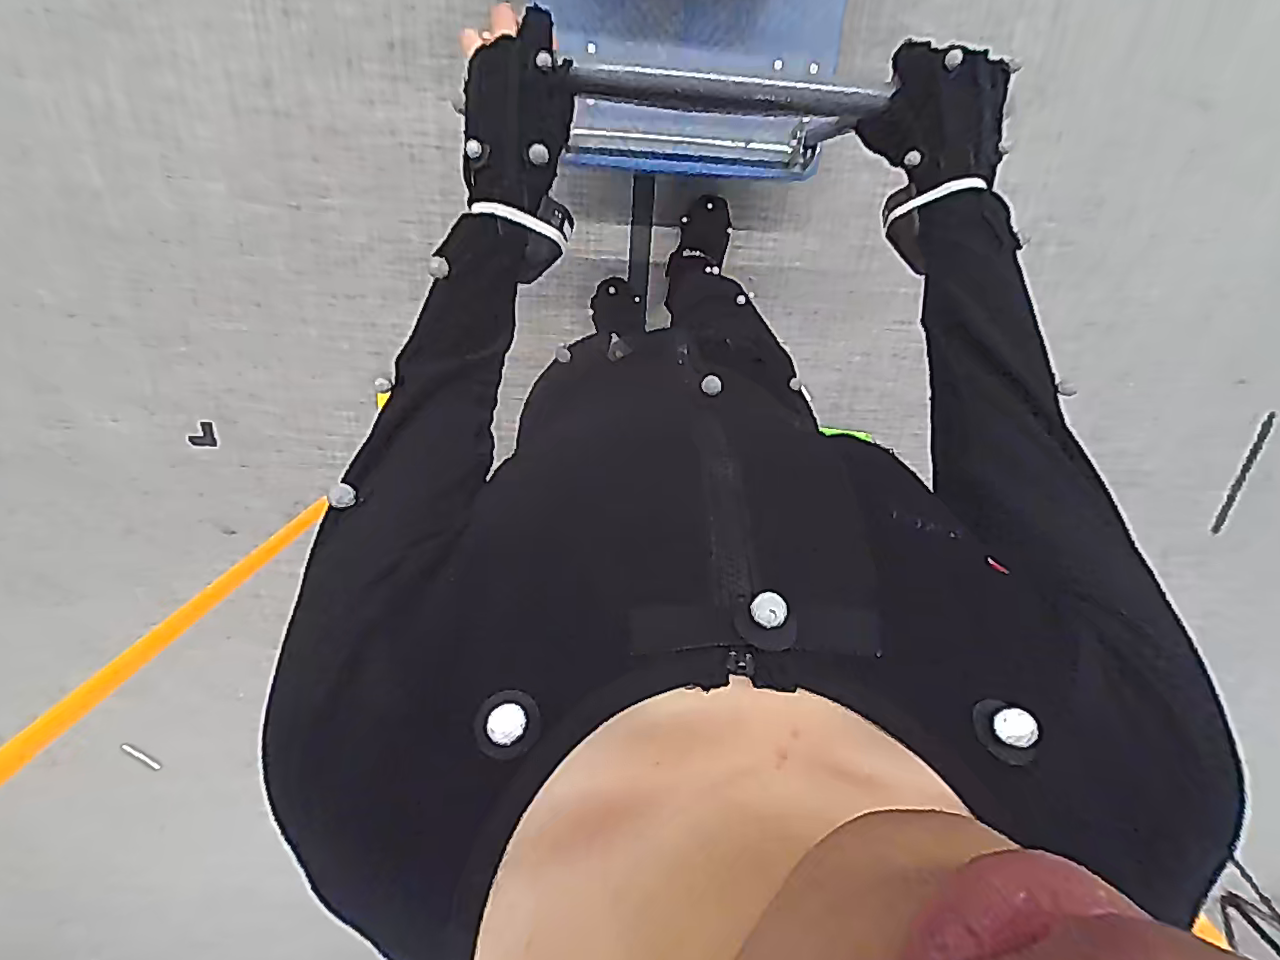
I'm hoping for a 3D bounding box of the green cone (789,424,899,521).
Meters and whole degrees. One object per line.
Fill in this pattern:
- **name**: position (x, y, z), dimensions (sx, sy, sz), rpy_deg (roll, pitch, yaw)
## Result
- **green cone**: position (0.546, 0.009, 1.378), dimensions (0.202, 0.368, 0.200), rpy_deg (5, 113, -6)
